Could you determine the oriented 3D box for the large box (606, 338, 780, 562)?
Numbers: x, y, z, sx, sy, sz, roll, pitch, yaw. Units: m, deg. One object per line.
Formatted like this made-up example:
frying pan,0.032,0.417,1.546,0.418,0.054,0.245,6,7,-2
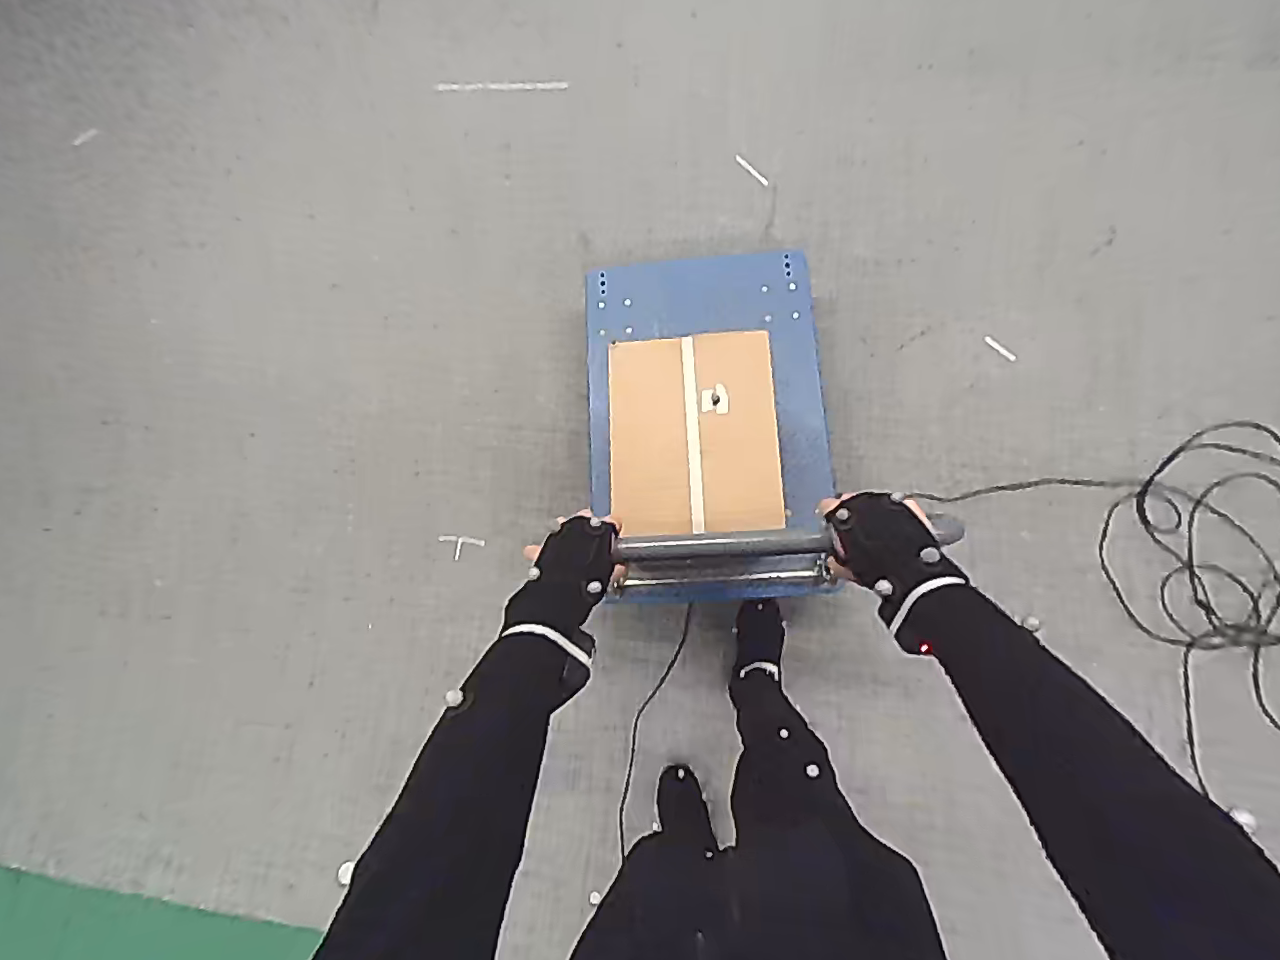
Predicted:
large box,0.110,-0.044,1.177,0.320,0.320,0.408,-3,76,5
